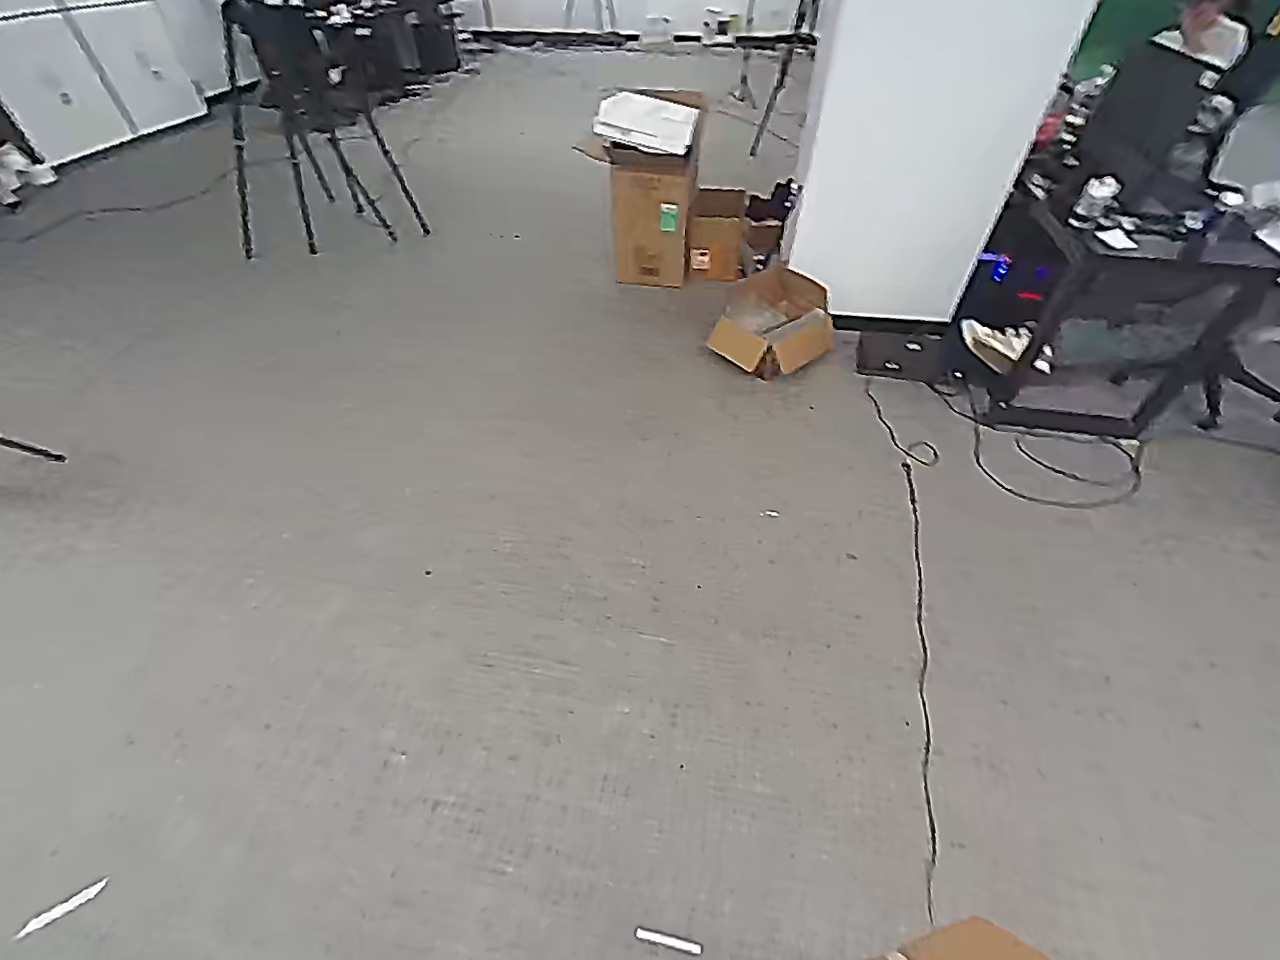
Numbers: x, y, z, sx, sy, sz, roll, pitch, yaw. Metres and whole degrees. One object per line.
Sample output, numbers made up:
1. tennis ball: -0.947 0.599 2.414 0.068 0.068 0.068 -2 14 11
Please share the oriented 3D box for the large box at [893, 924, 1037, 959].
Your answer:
1. large box: 0.436 0.784 0.575 0.320 0.408 0.320 -16 71 -10
